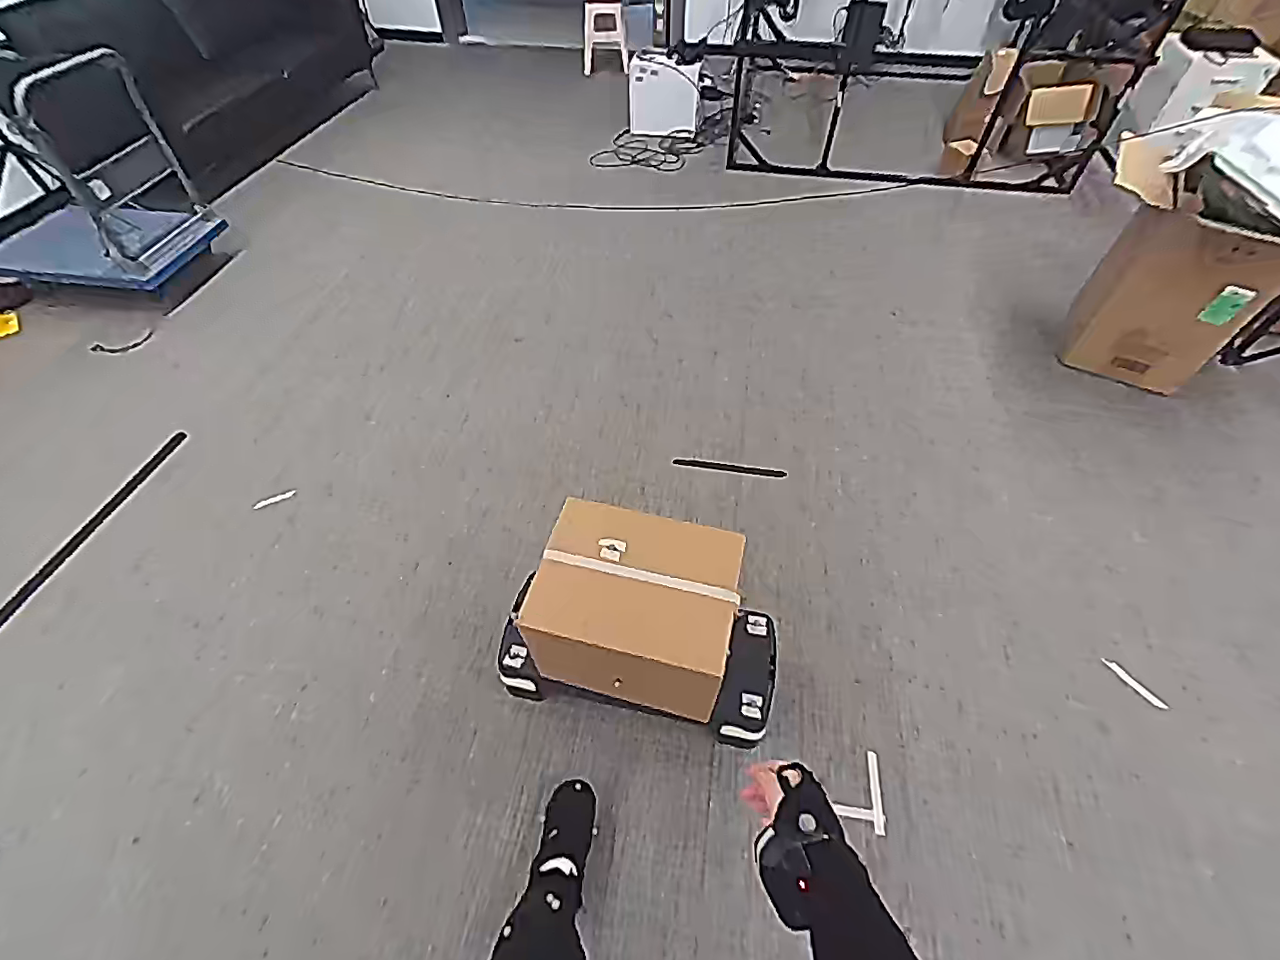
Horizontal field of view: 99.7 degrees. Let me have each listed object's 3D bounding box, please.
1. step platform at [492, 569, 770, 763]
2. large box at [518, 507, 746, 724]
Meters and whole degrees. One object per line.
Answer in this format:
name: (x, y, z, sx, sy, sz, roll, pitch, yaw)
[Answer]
step platform: (-0.020, 0.456, 1.374, 0.684, 0.204, 0.286, 13, 52, 12)
large box: (0.001, 0.301, 1.192, 0.408, 0.320, 0.320, 11, 51, 10)
